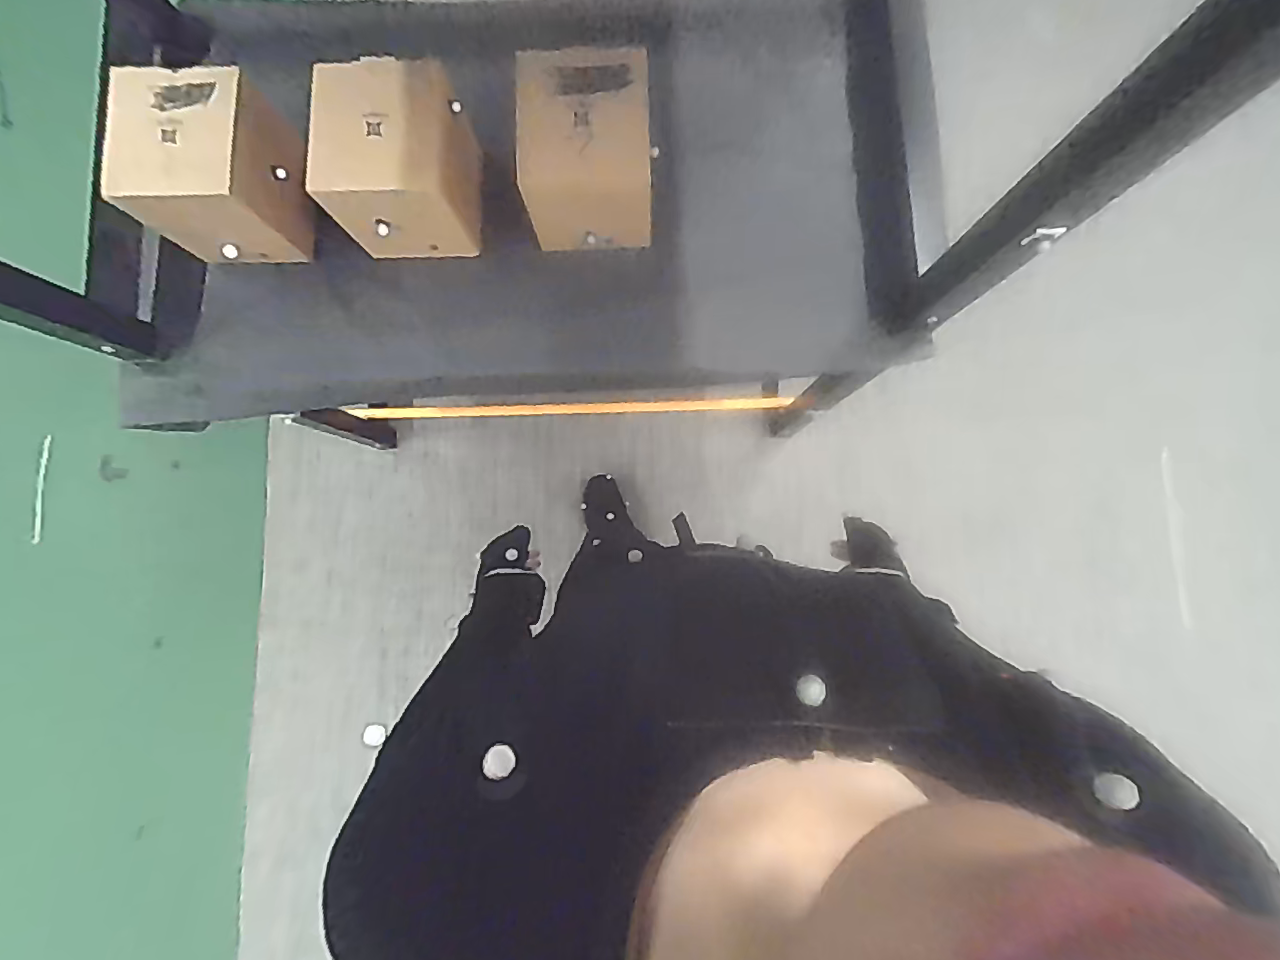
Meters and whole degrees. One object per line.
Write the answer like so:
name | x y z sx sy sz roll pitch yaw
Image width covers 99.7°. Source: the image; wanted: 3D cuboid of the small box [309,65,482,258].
small box | -0.328 -0.430 0.757 0.168 0.176 0.179 -1 83 1

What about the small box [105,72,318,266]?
small box | -0.581 -0.425 0.759 0.168 0.176 0.179 0 84 1
